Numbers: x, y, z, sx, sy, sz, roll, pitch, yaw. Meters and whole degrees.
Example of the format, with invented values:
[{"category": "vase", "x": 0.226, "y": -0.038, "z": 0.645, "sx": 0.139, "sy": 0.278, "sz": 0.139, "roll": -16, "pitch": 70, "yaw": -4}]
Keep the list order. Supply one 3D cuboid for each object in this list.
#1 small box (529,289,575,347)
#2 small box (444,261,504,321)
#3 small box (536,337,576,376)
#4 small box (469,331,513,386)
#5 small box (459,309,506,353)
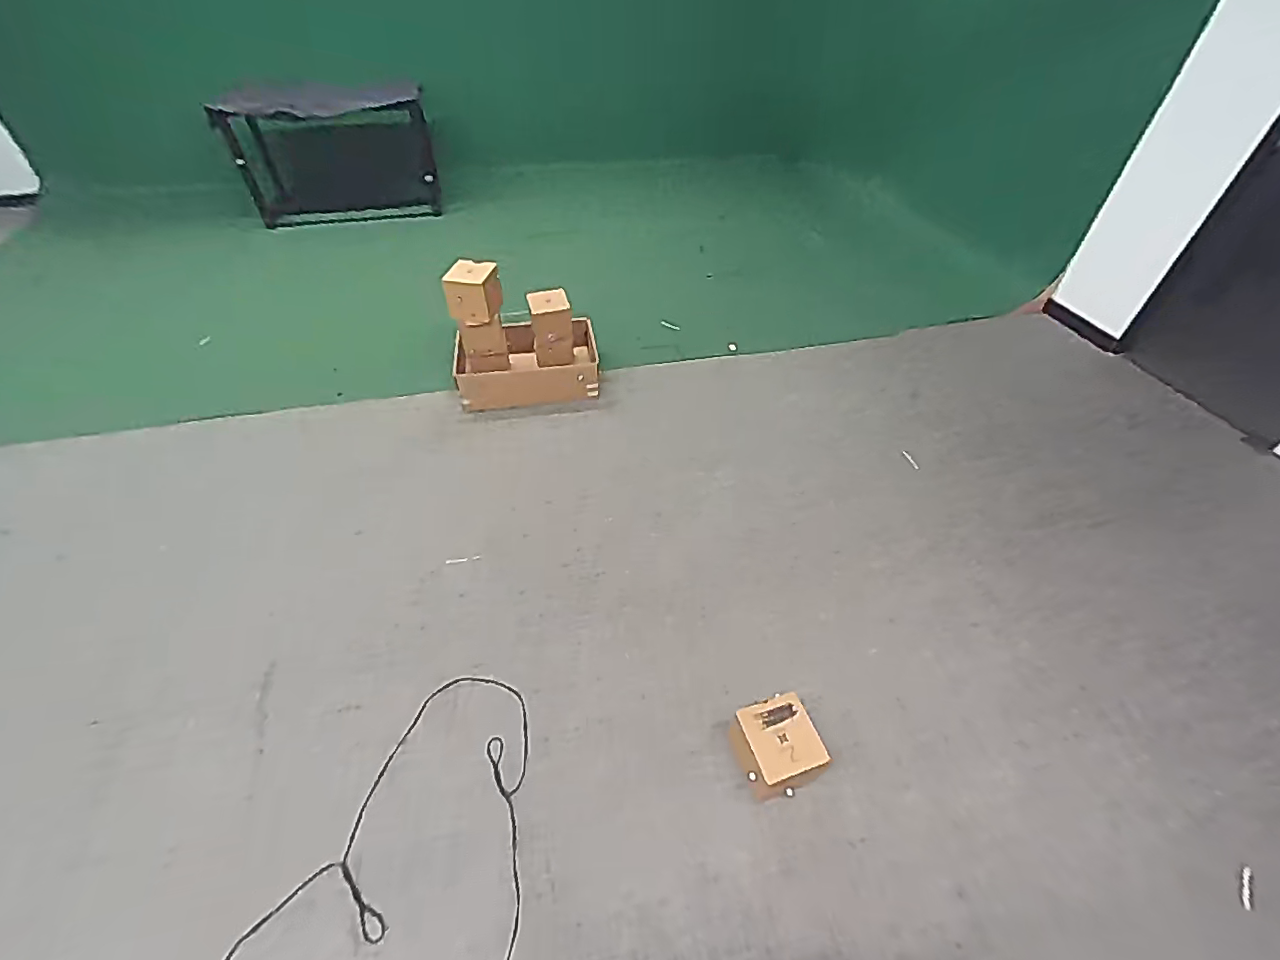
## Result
[{"category": "small box", "x": -0.385, "y": -0.707, "z": 2.367, "sx": 0.168, "sy": 0.176, "sz": 0.179, "roll": -13, "pitch": 50, "yaw": -11}, {"category": "small box", "x": -0.660, "y": -0.761, "z": 2.181, "sx": 0.168, "sy": 0.176, "sz": 0.179, "roll": 9, "pitch": 45, "yaw": 6}, {"category": "small box", "x": -0.385, "y": -0.596, "z": 2.486, "sx": 0.168, "sy": 0.176, "sz": 0.179, "roll": -5, "pitch": 46, "yaw": -5}, {"category": "small box", "x": -0.668, "y": -0.546, "z": 2.427, "sx": 0.168, "sy": 0.176, "sz": 0.179, "roll": -9, "pitch": 47, "yaw": -10}, {"category": "small box", "x": -0.667, "y": -0.652, "z": 2.302, "sx": 0.168, "sy": 0.176, "sz": 0.179, "roll": -7, "pitch": 46, "yaw": -9}]
